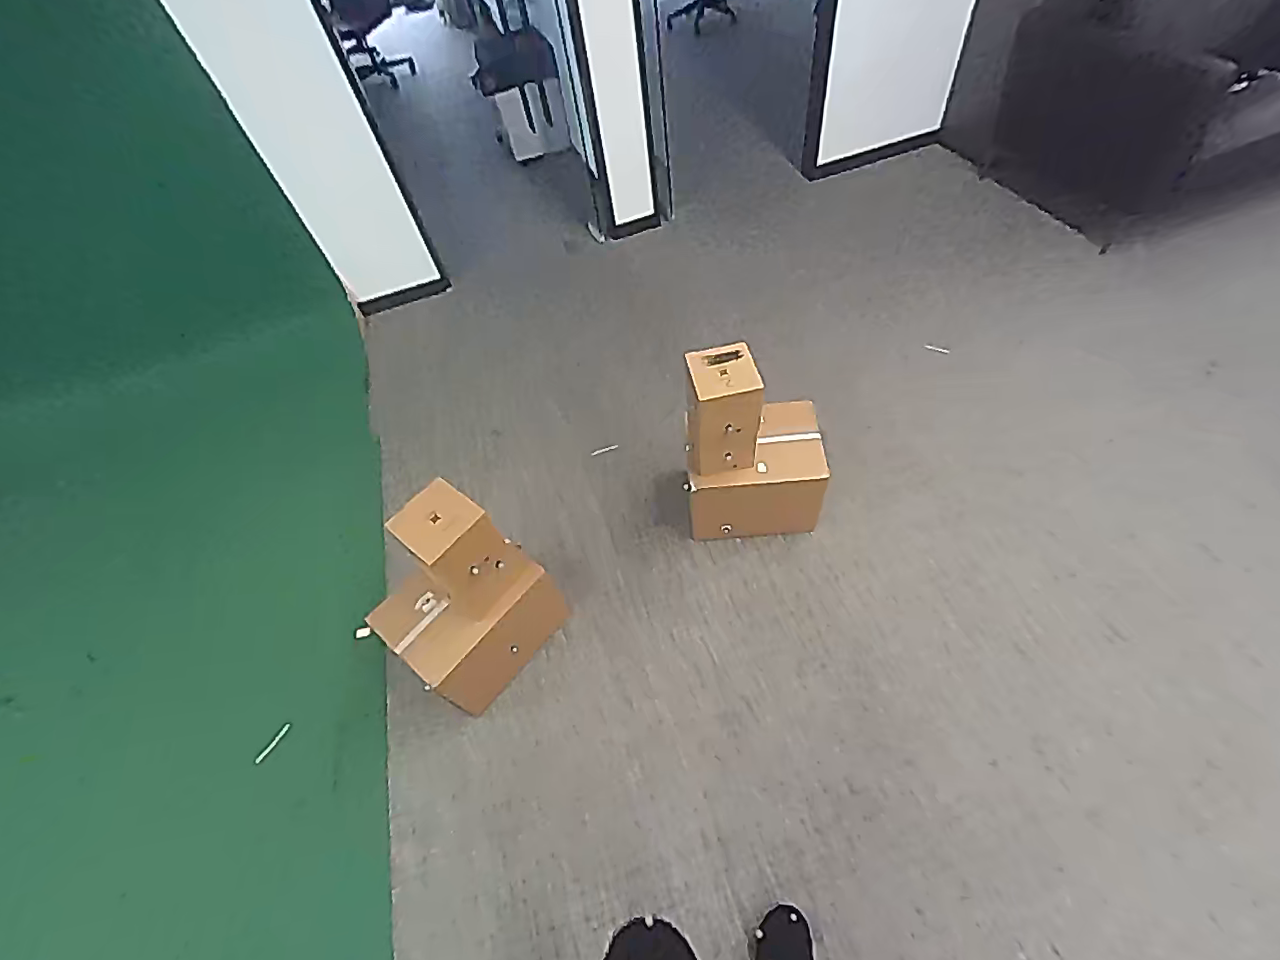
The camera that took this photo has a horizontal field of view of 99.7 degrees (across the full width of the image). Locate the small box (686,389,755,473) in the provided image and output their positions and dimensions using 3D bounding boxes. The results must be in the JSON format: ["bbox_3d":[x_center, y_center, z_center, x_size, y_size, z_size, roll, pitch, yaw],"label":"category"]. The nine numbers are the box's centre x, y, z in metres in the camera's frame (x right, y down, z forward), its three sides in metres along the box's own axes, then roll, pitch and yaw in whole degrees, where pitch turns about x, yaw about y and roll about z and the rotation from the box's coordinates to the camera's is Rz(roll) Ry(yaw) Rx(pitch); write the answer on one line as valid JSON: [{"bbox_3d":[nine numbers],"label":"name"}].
[{"bbox_3d":[0.231,-0.135,1.573,0.168,0.176,0.179,-10,54,0],"label":"small box"}]

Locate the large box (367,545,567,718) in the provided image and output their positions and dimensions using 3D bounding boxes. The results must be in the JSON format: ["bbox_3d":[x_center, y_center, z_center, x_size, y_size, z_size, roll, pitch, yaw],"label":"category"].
[{"bbox_3d":[-0.482,0.406,1.587,0.320,0.320,0.408,29,64,28],"label":"large box"}]

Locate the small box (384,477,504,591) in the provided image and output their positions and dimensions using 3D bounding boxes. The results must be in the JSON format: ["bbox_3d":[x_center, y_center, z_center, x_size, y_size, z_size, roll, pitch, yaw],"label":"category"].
[{"bbox_3d":[-0.454,0.132,1.273,0.179,0.176,0.168,32,65,26],"label":"small box"}]

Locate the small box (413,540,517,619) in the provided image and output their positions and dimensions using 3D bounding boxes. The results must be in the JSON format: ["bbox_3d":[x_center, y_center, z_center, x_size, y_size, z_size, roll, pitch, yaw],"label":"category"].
[{"bbox_3d":[-0.442,0.226,1.406,0.168,0.176,0.179,29,63,26],"label":"small box"}]
